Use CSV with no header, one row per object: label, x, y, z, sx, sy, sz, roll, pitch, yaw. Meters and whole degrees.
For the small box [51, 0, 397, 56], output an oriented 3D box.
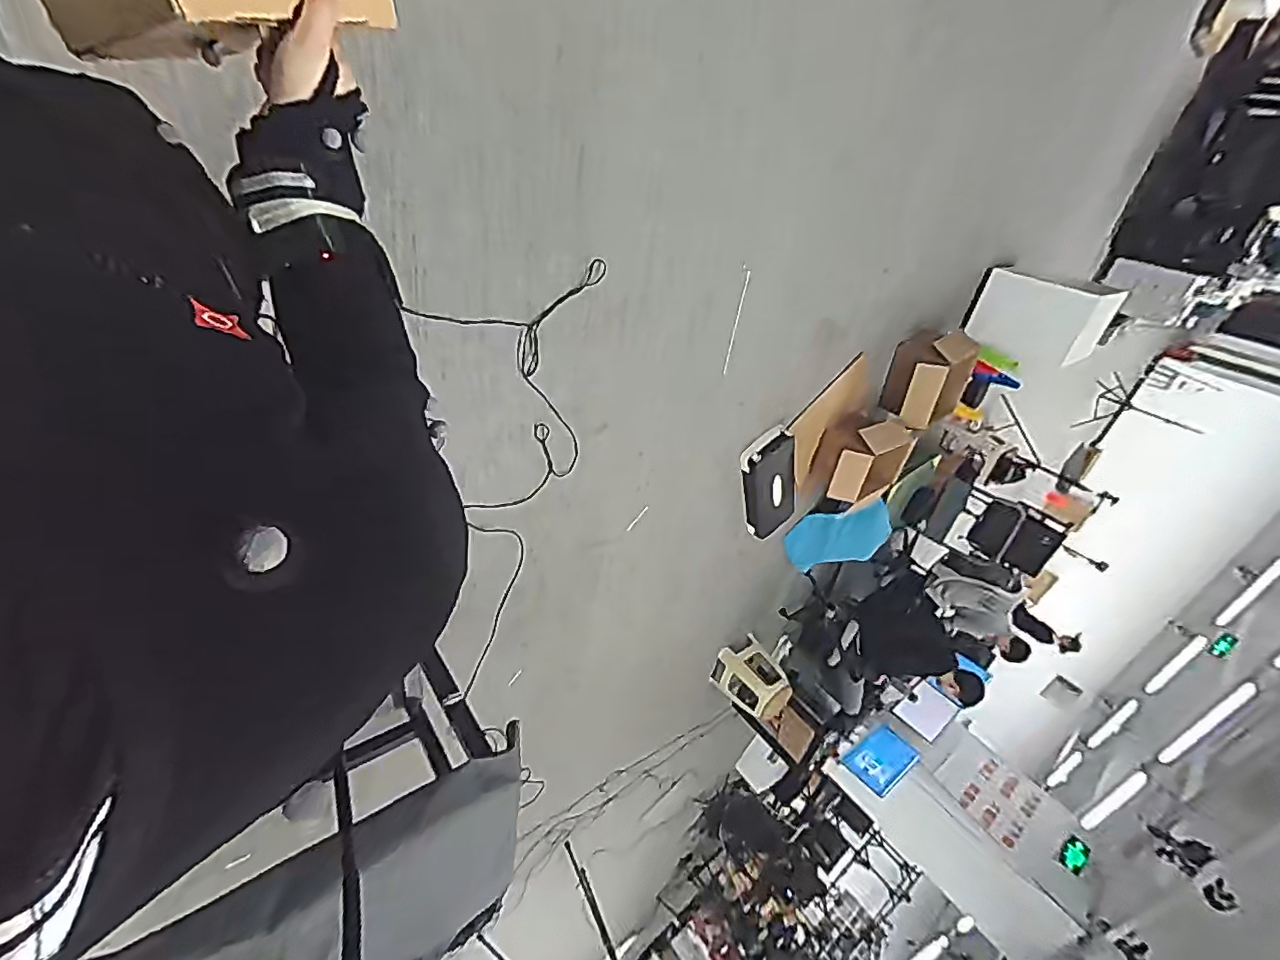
small box,-0.310,-0.409,0.364,0.168,0.176,0.179,-48,143,-43
